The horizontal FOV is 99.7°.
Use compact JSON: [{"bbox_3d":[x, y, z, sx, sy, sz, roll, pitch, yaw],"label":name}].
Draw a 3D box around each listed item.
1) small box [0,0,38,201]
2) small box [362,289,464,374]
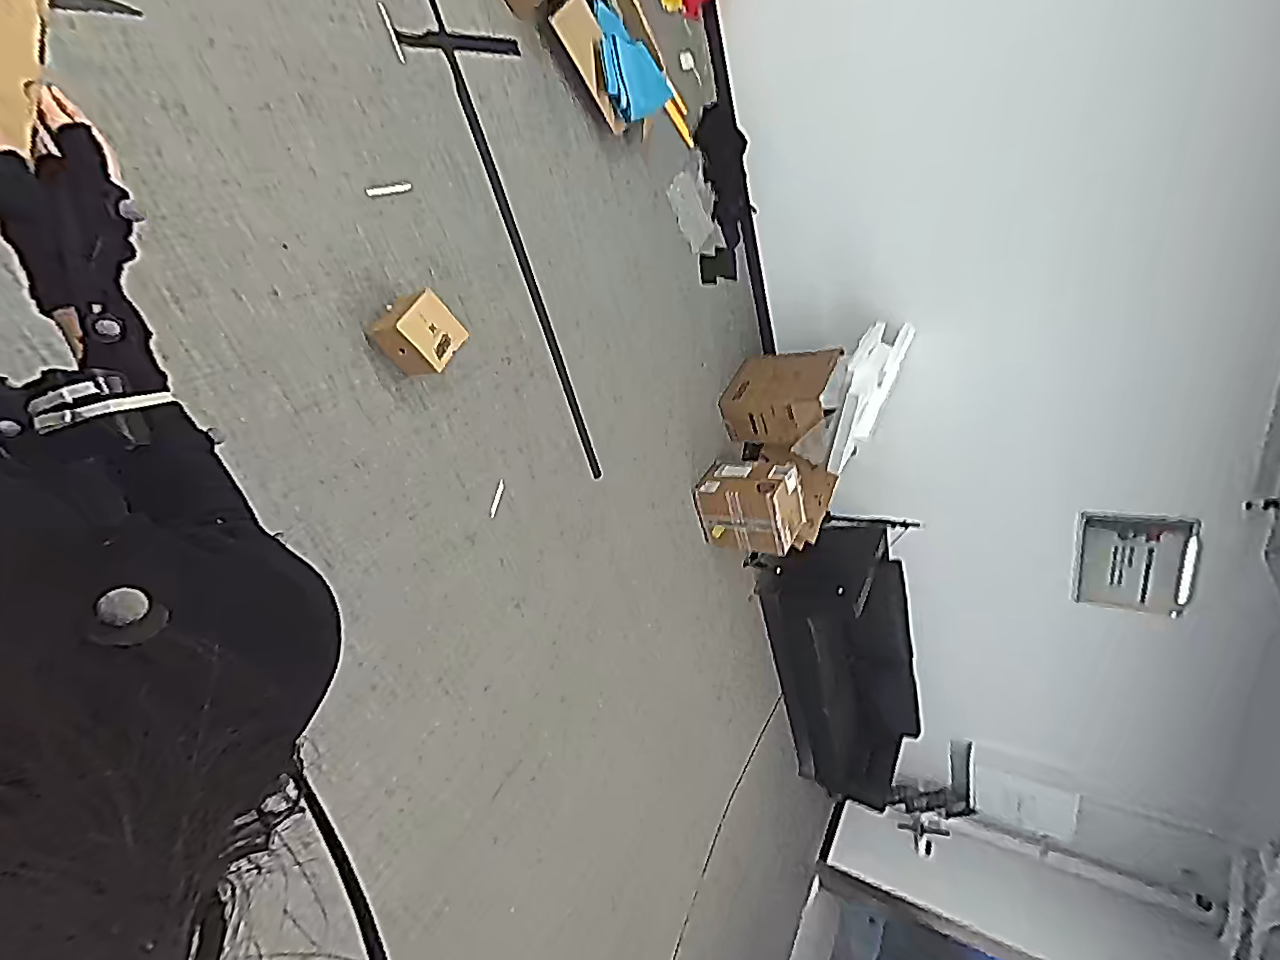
[{"bbox_3d":[-0.529,-0.290,0.339,0.179,0.176,0.168,2,96,-57],"label":"small box"},{"bbox_3d":[-0.661,-0.426,1.576,0.179,0.176,0.168,54,51,-40],"label":"small box"}]
